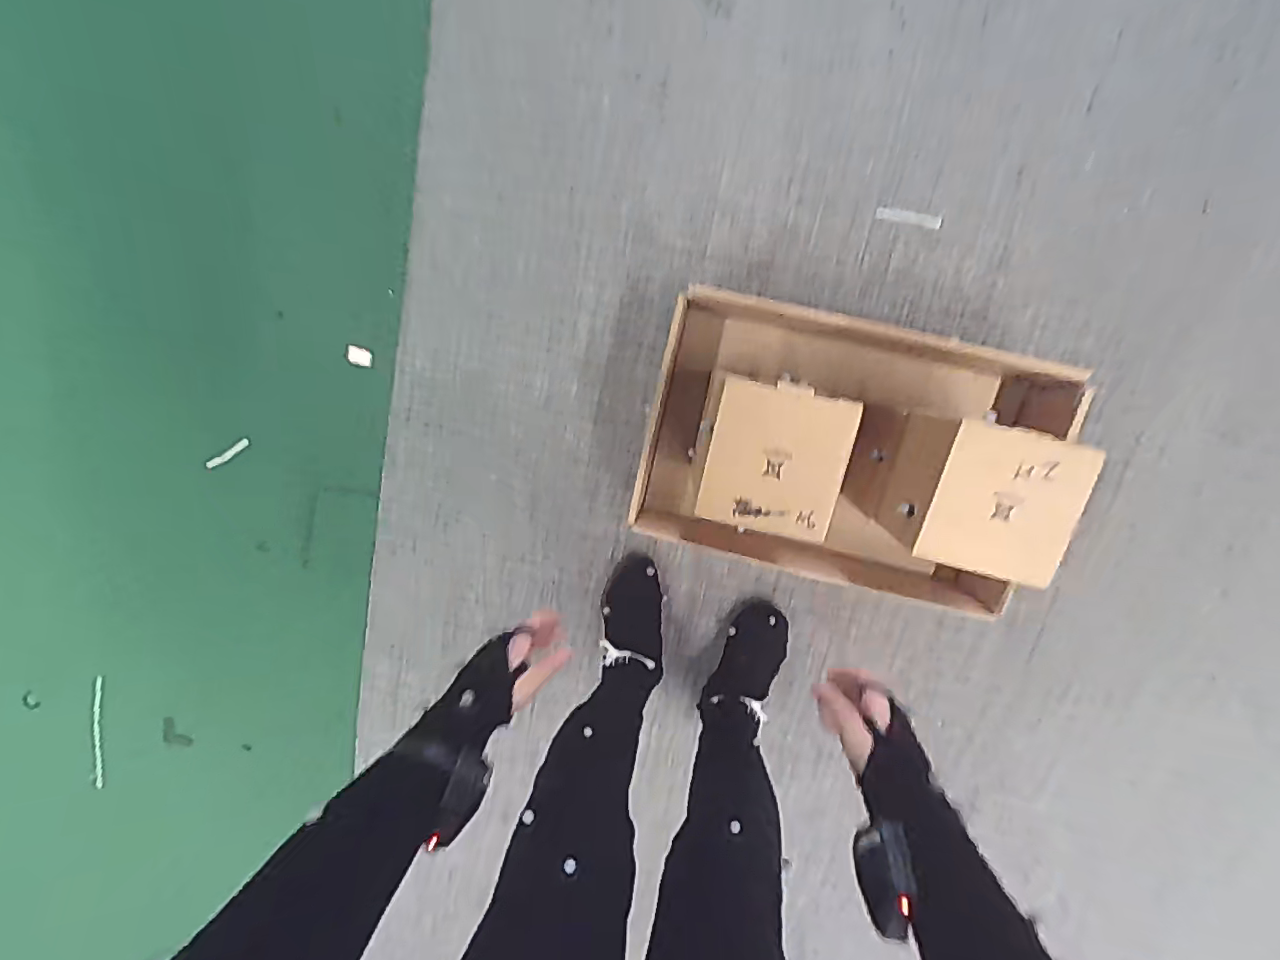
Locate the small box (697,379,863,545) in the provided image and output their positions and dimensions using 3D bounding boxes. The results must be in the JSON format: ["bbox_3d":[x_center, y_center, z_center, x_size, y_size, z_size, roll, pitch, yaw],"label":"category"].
[{"bbox_3d":[0.173,-0.035,0.731,0.168,0.176,0.179,13,102,3],"label":"small box"}]

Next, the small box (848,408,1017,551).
[{"bbox_3d":[0.456,-0.010,0.877,0.168,0.176,0.179,15,102,4],"label":"small box"}]
